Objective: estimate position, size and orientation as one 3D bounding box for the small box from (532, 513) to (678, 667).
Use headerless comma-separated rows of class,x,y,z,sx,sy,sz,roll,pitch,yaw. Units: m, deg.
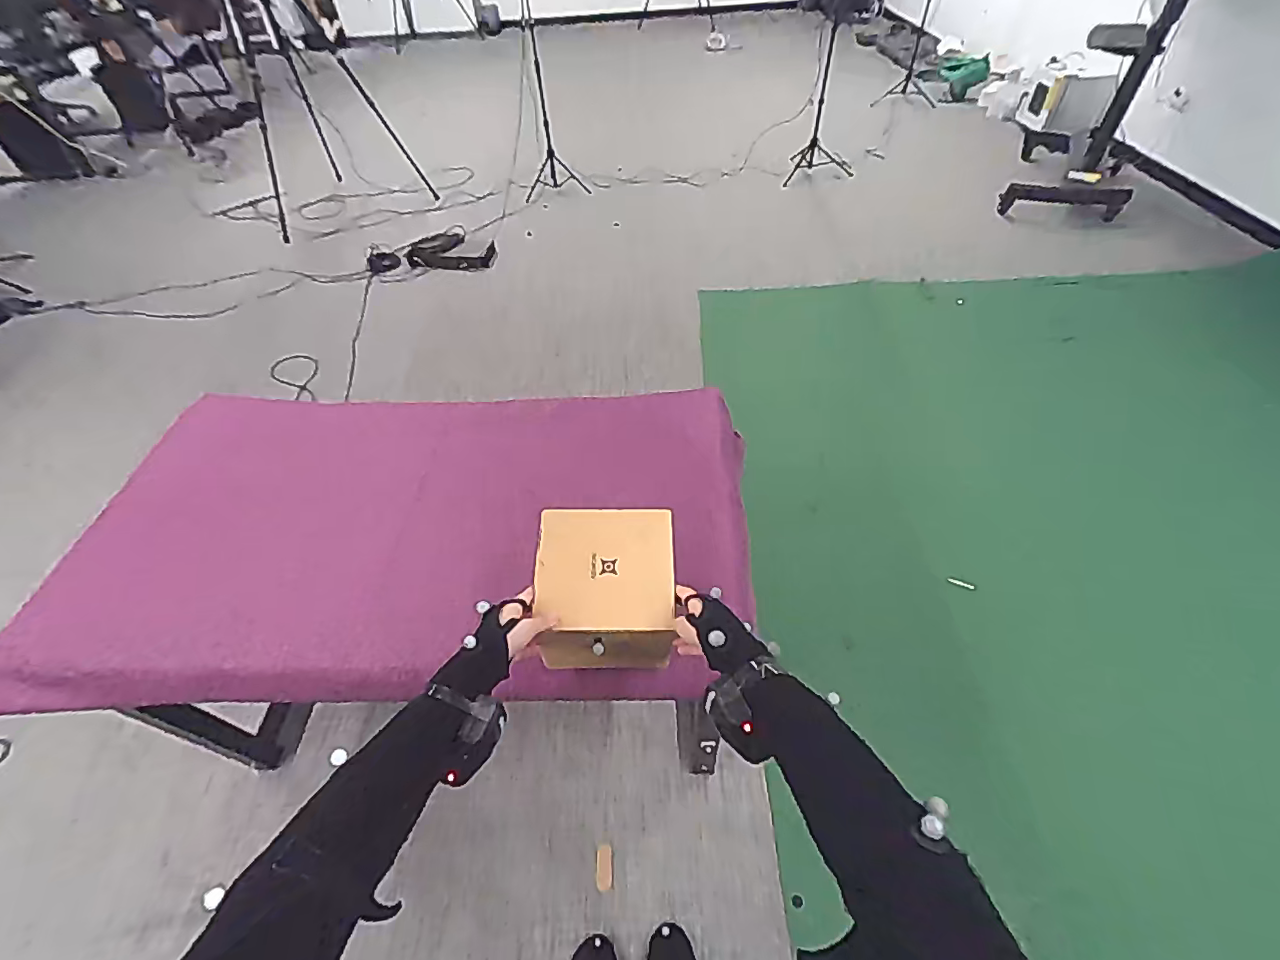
small box,-0.042,0.157,0.751,0.179,0.176,0.168,-2,58,1
